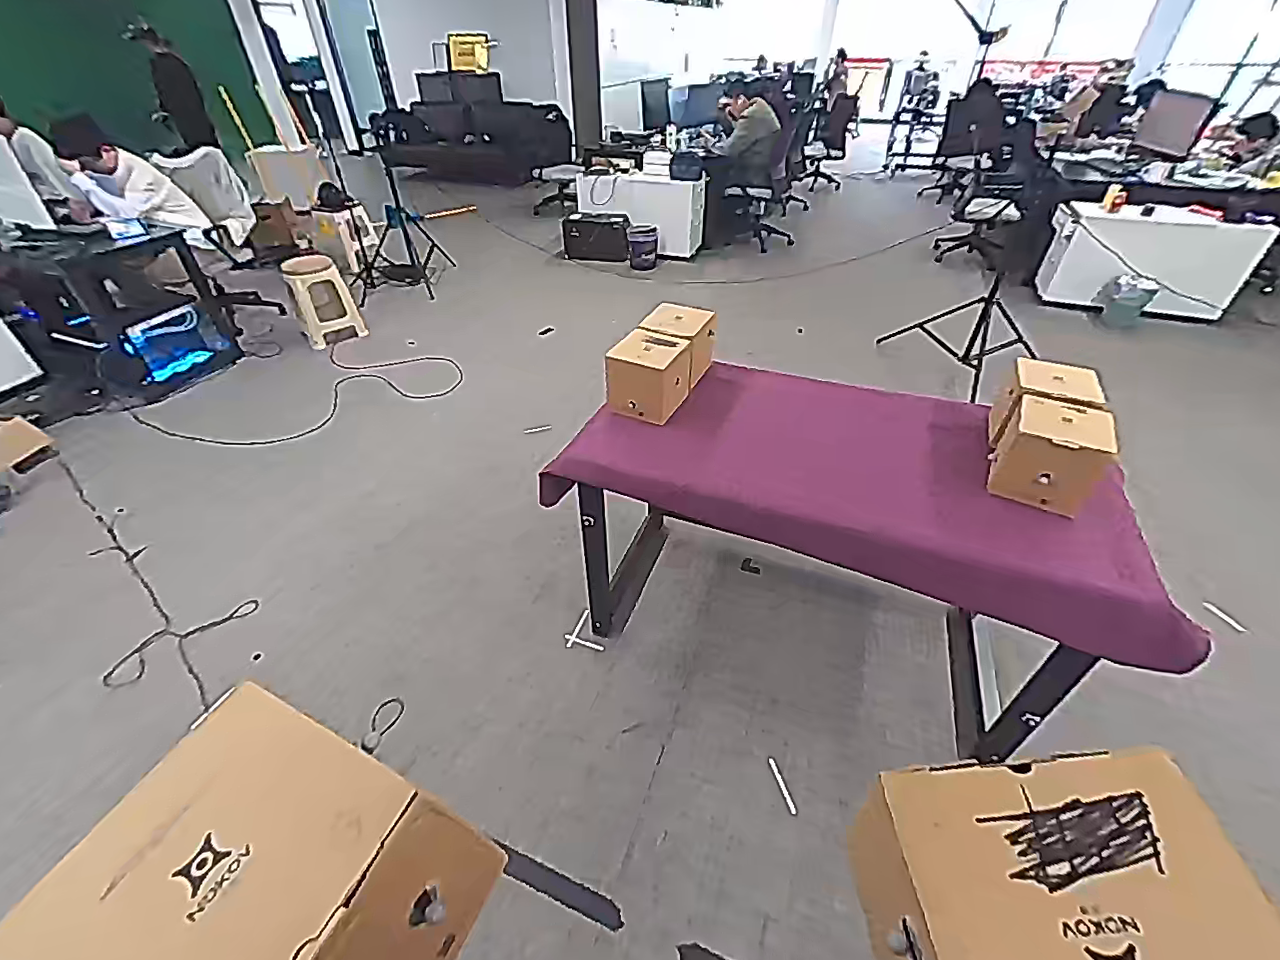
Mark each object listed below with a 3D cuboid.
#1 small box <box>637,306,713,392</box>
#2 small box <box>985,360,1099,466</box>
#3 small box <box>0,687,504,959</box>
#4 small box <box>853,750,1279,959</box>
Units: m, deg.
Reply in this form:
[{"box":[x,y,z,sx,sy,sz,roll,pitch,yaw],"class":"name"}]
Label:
[{"box":[0.100,-0.380,1.564,0.168,0.176,0.179,17,43,20],"class":"small box"},{"box":[0.952,-0.162,1.300,0.168,0.176,0.179,17,42,19],"class":"small box"},{"box":[-0.218,0.274,0.353,0.179,0.176,0.168,13,47,24],"class":"small box"},{"box":[0.242,0.285,0.320,0.168,0.176,0.179,-8,46,4],"class":"small box"}]
